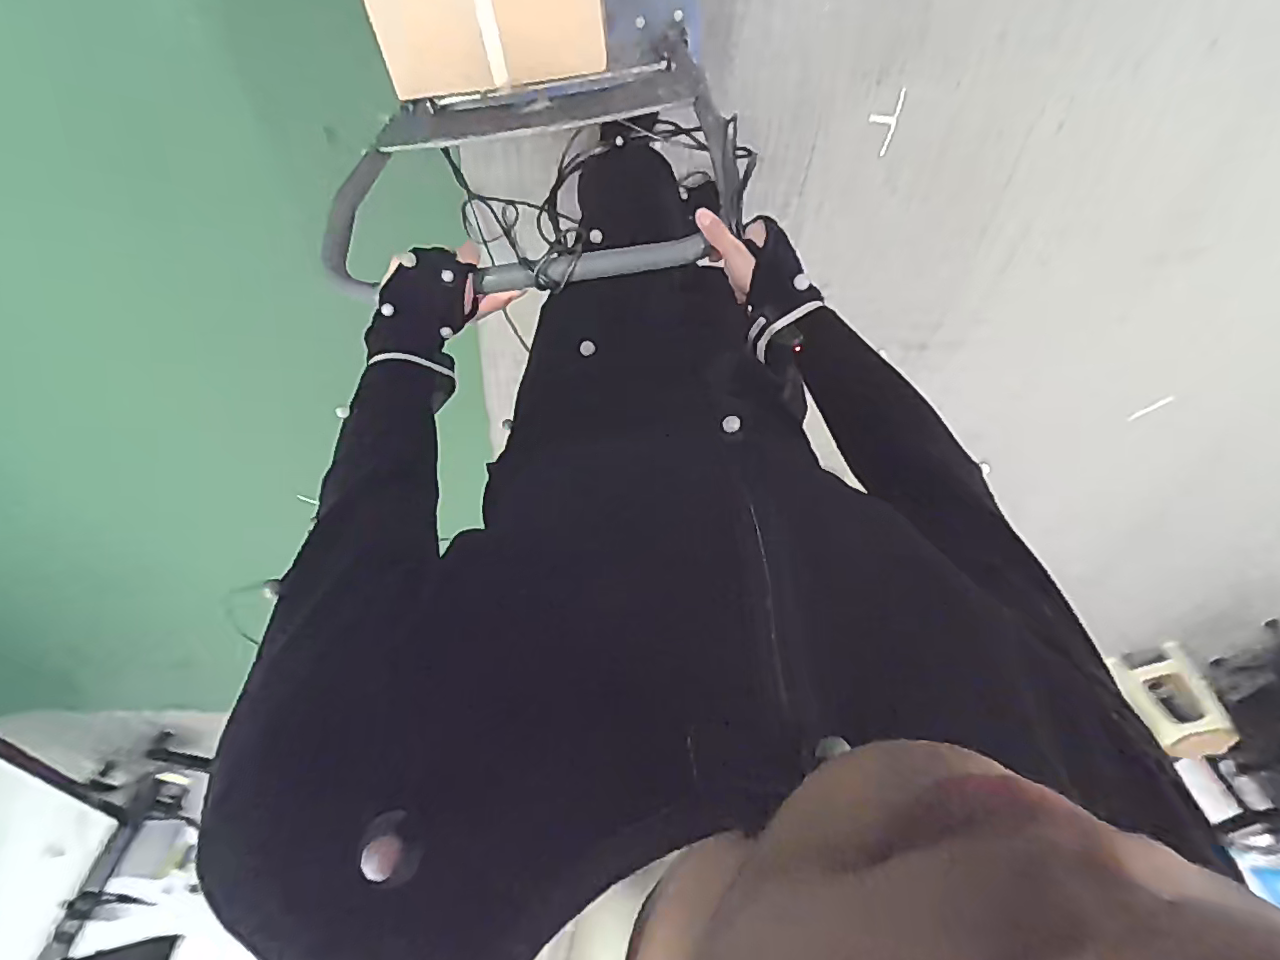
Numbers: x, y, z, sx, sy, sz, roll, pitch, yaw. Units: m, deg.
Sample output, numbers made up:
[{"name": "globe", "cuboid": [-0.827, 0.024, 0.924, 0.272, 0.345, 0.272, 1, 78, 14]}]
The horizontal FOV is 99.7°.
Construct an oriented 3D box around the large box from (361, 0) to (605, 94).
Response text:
[{"name": "large box", "cuboid": [-0.236, -0.826, 0.744, 0.320, 0.320, 0.408, -7, 136, 4]}]
